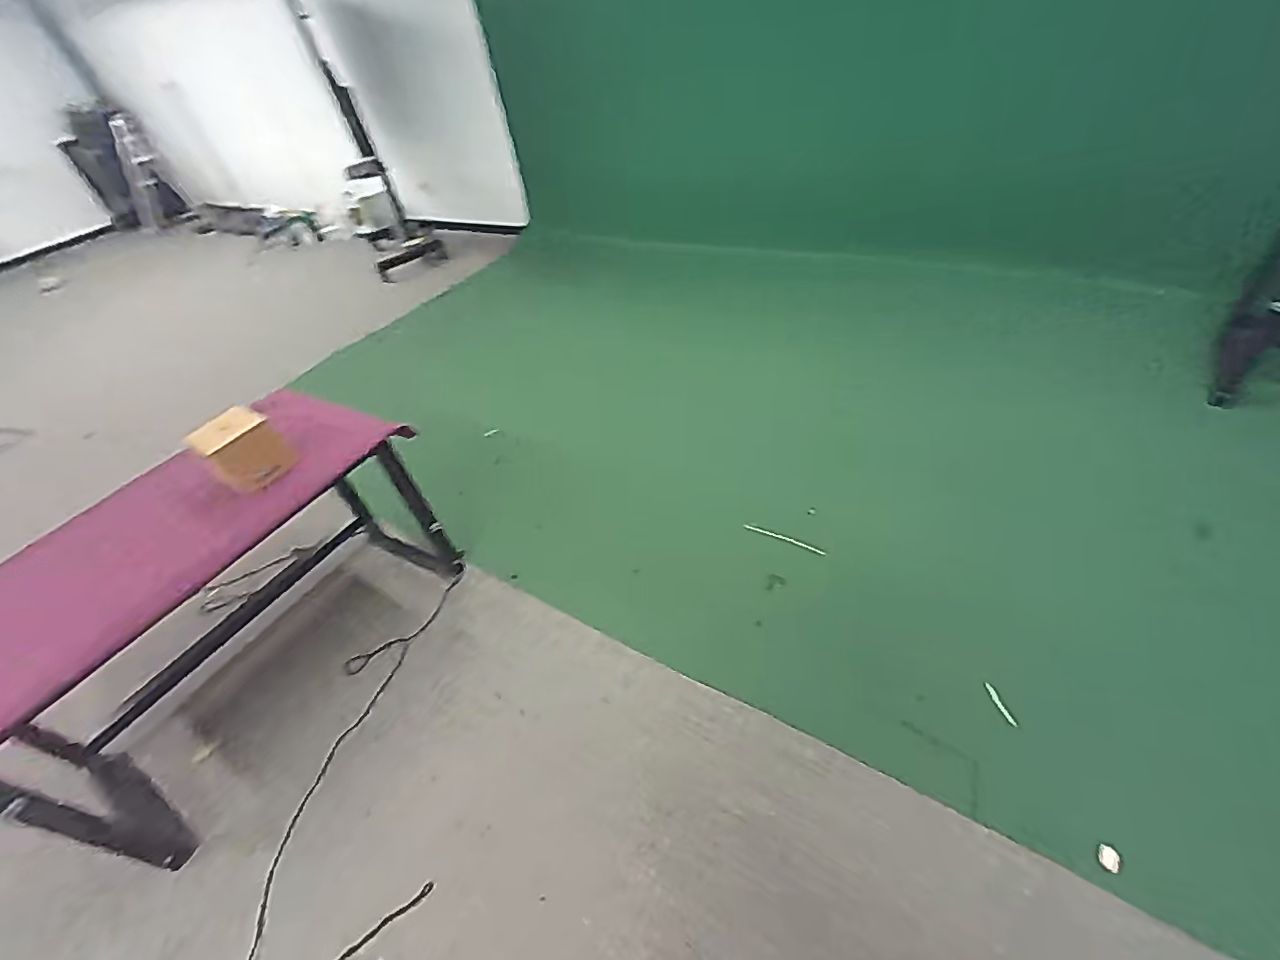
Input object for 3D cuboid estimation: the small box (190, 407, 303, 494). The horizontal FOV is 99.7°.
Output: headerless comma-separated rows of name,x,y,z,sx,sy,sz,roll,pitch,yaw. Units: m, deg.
small box,-1.130,-0.084,1.561,0.179,0.176,0.168,19,52,30
